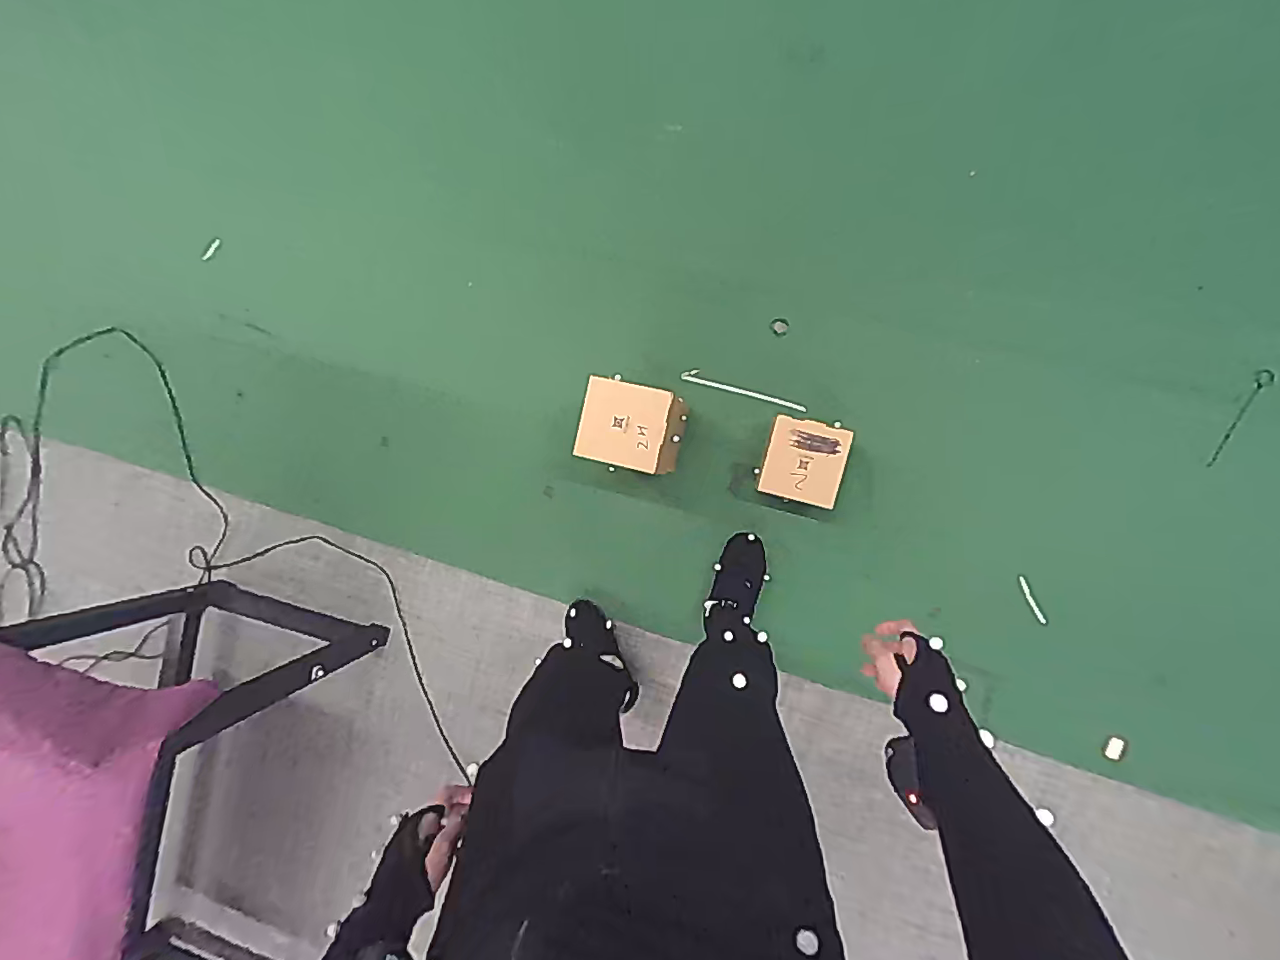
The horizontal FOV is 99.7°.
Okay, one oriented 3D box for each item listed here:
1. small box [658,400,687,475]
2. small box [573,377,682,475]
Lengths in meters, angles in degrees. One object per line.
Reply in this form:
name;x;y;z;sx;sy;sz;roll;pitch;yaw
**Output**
small box;0.014;-0.114;1.307;0.168;0.176;0.179;14;93;10
small box;-0.020;-0.107;1.146;0.179;0.176;0.168;14;93;10
